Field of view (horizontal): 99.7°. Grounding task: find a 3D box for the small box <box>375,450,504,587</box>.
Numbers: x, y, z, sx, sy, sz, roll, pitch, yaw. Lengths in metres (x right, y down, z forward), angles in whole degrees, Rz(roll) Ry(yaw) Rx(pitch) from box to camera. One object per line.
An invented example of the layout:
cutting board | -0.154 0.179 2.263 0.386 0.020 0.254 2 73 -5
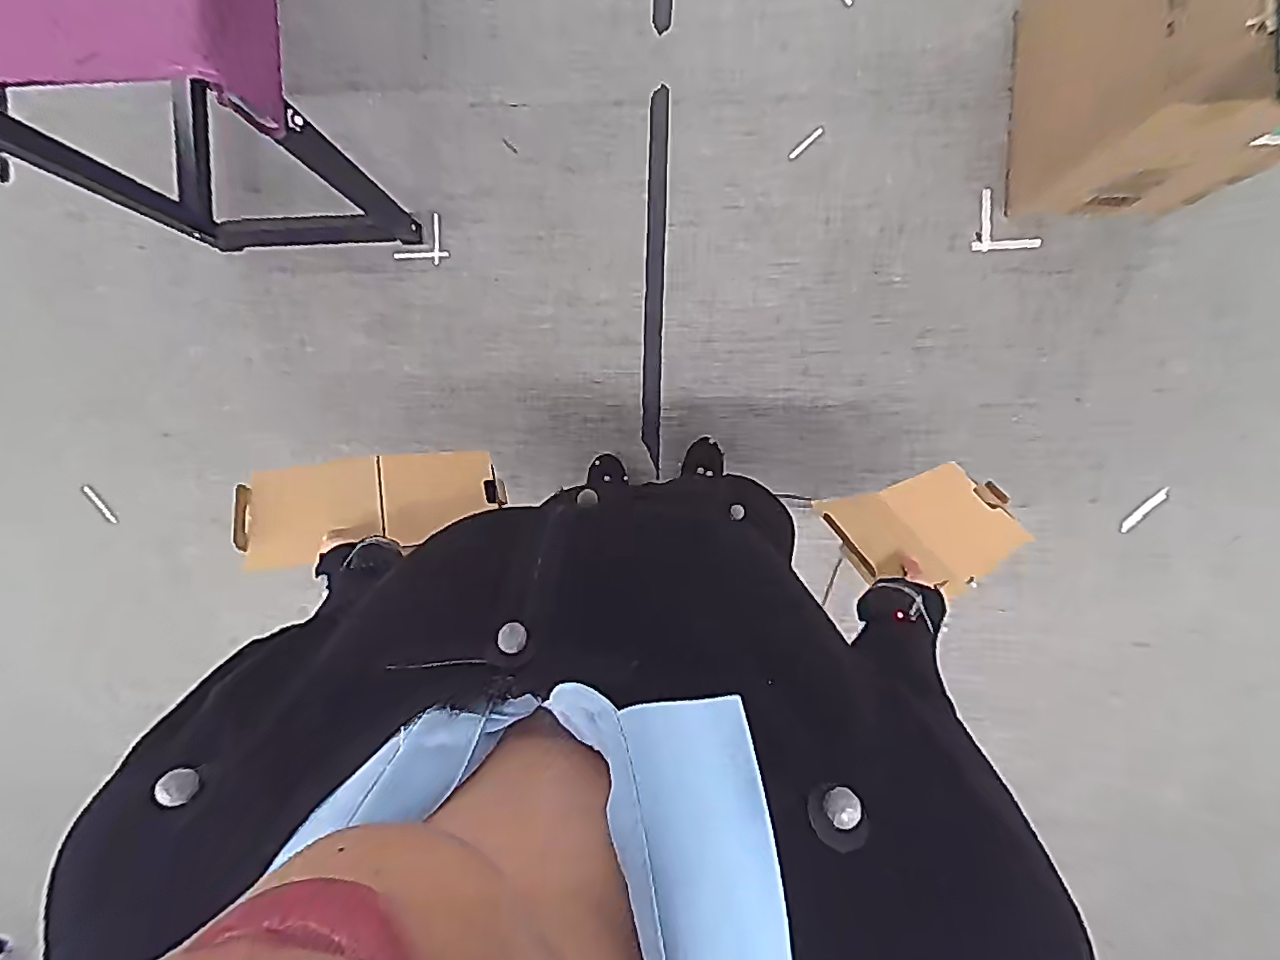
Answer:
small box | -0.334 0.066 0.896 0.179 0.176 0.168 -4 62 -26
